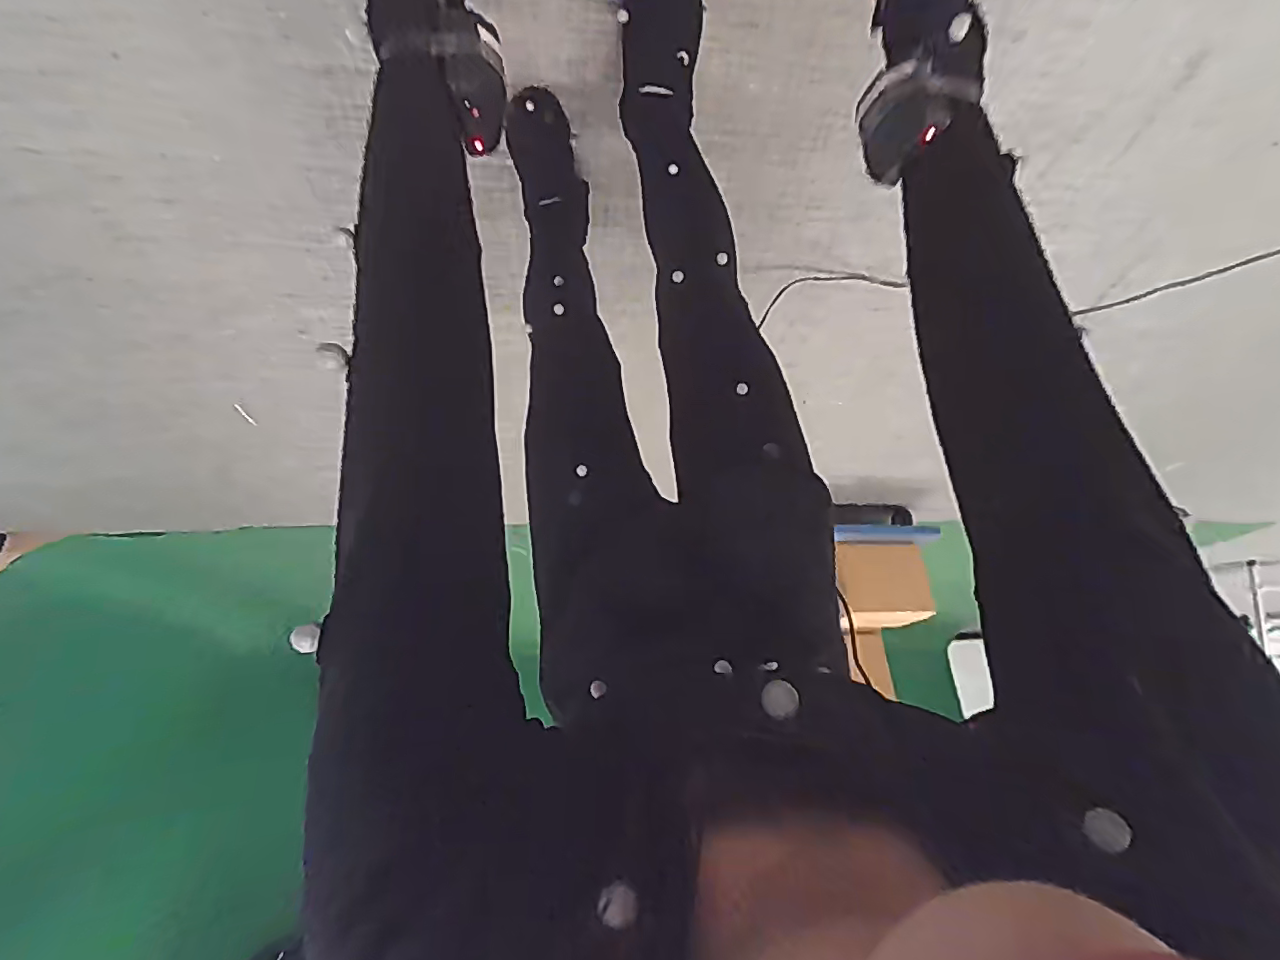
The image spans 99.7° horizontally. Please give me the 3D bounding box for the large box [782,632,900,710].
[{"bbox_3d":[0.953,0.926,2.618,0.408,0.320,0.320,2,155,-12],"label":"large box"}]
